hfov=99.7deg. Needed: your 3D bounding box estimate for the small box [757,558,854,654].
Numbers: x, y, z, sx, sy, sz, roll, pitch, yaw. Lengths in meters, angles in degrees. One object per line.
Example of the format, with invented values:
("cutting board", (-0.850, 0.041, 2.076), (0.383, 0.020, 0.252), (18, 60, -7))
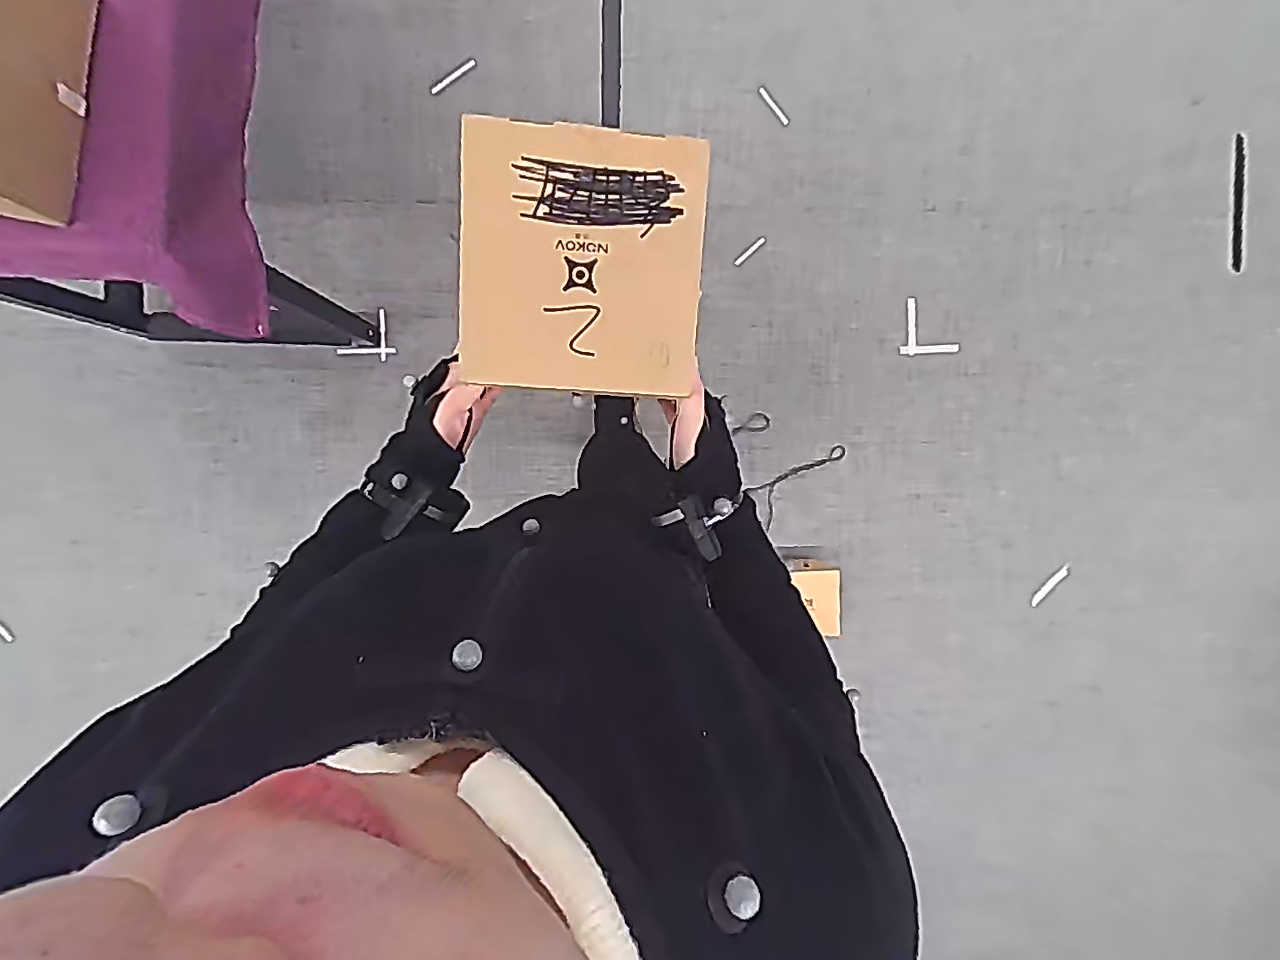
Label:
("small box", (0.432, 0.331, 1.425), (0.179, 0.176, 0.168), (-9, 113, -21))
